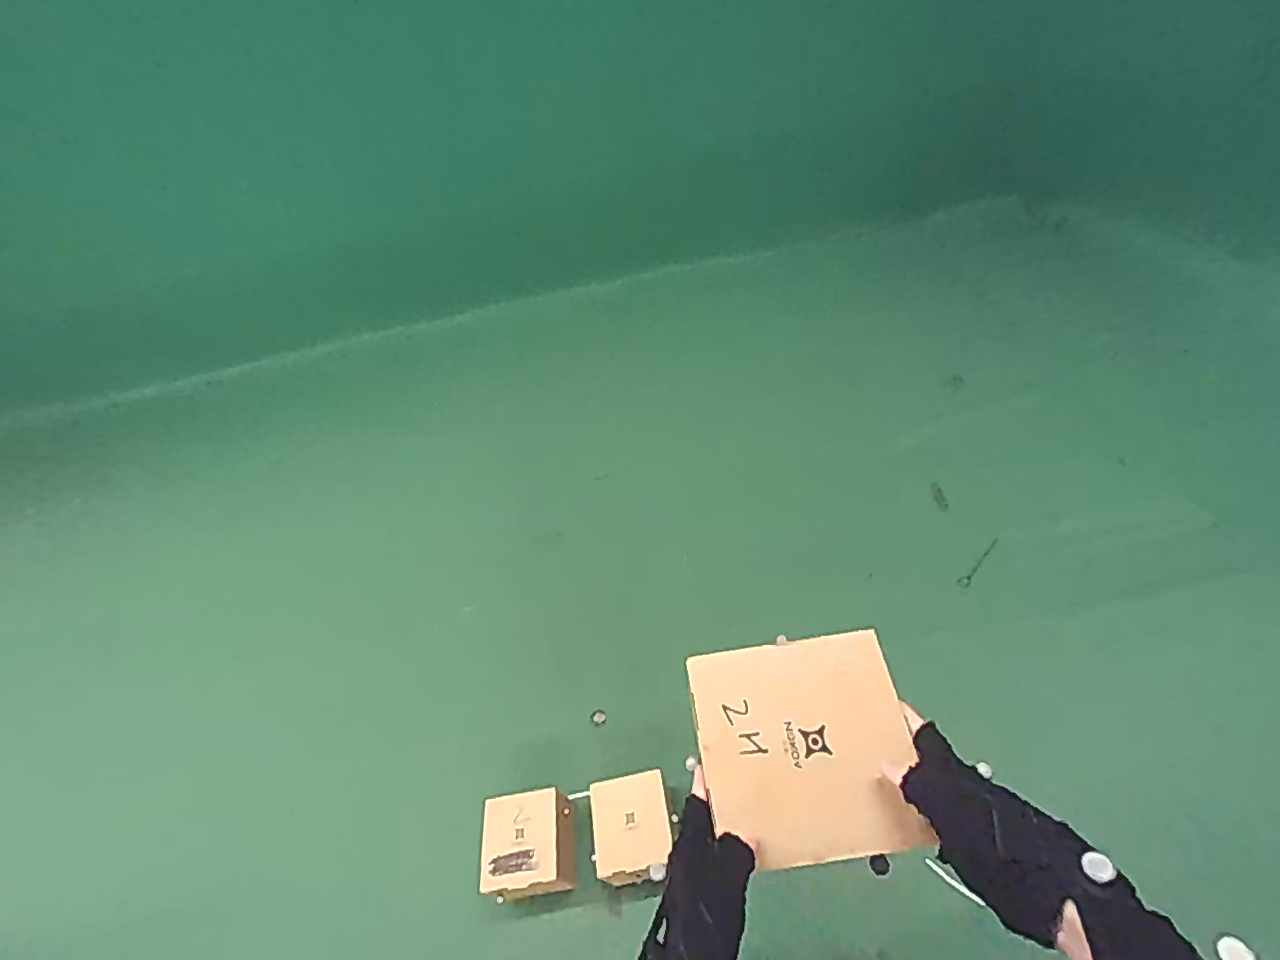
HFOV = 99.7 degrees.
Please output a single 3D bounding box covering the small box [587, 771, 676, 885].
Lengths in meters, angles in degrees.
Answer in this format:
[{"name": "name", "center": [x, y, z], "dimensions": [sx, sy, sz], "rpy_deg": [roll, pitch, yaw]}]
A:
[{"name": "small box", "center": [-0.017, 0.784, 1.216], "dimensions": [0.168, 0.176, 0.179], "rpy_deg": [-12, 49, 0]}]
